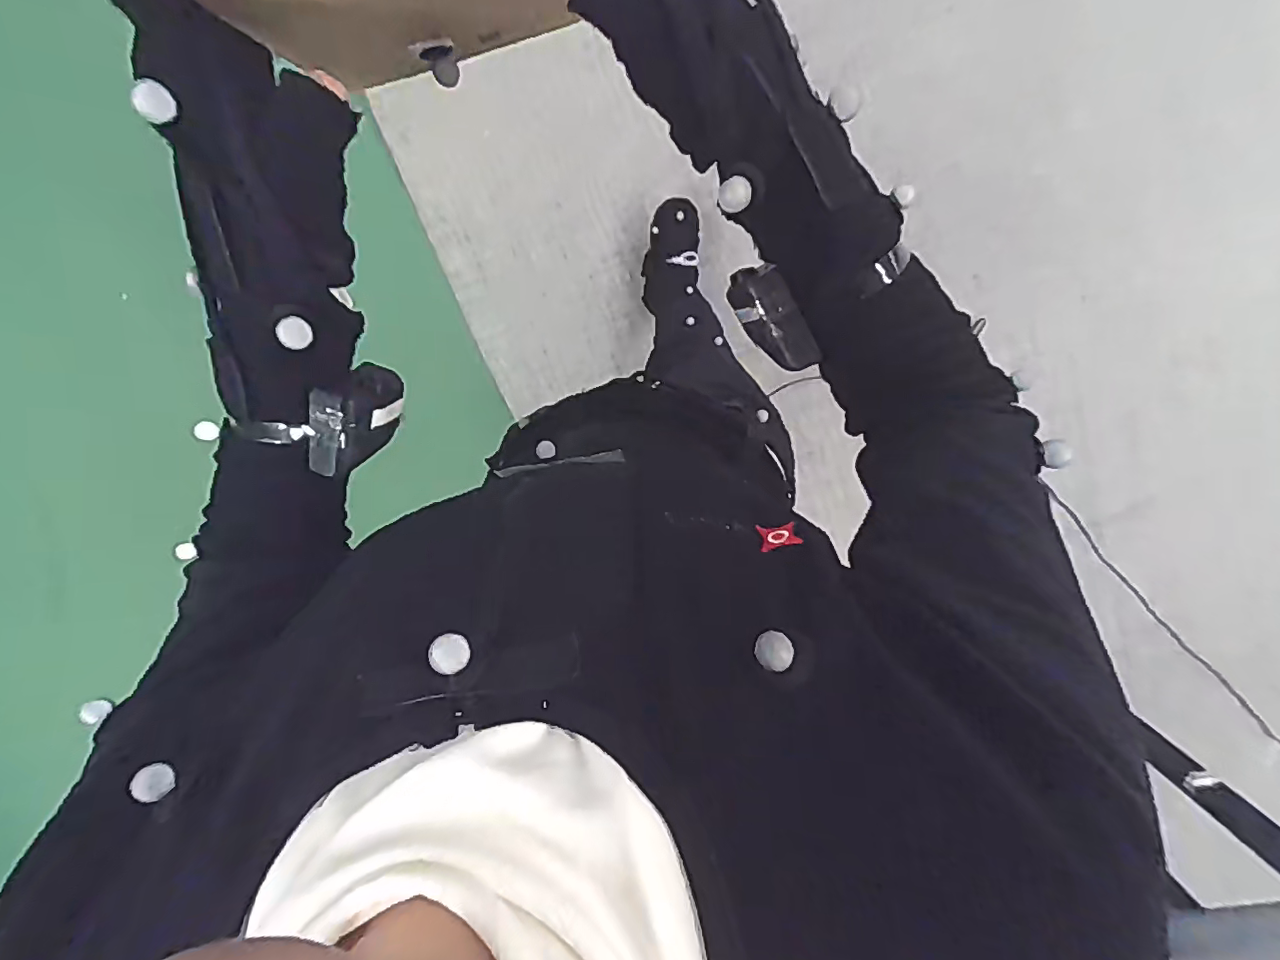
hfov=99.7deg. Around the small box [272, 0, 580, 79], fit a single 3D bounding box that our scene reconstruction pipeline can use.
[{"bbox_3d":[-0.127,-0.328,0.248,0.168,0.176,0.179,-16,115,2],"label":"small box"}]
